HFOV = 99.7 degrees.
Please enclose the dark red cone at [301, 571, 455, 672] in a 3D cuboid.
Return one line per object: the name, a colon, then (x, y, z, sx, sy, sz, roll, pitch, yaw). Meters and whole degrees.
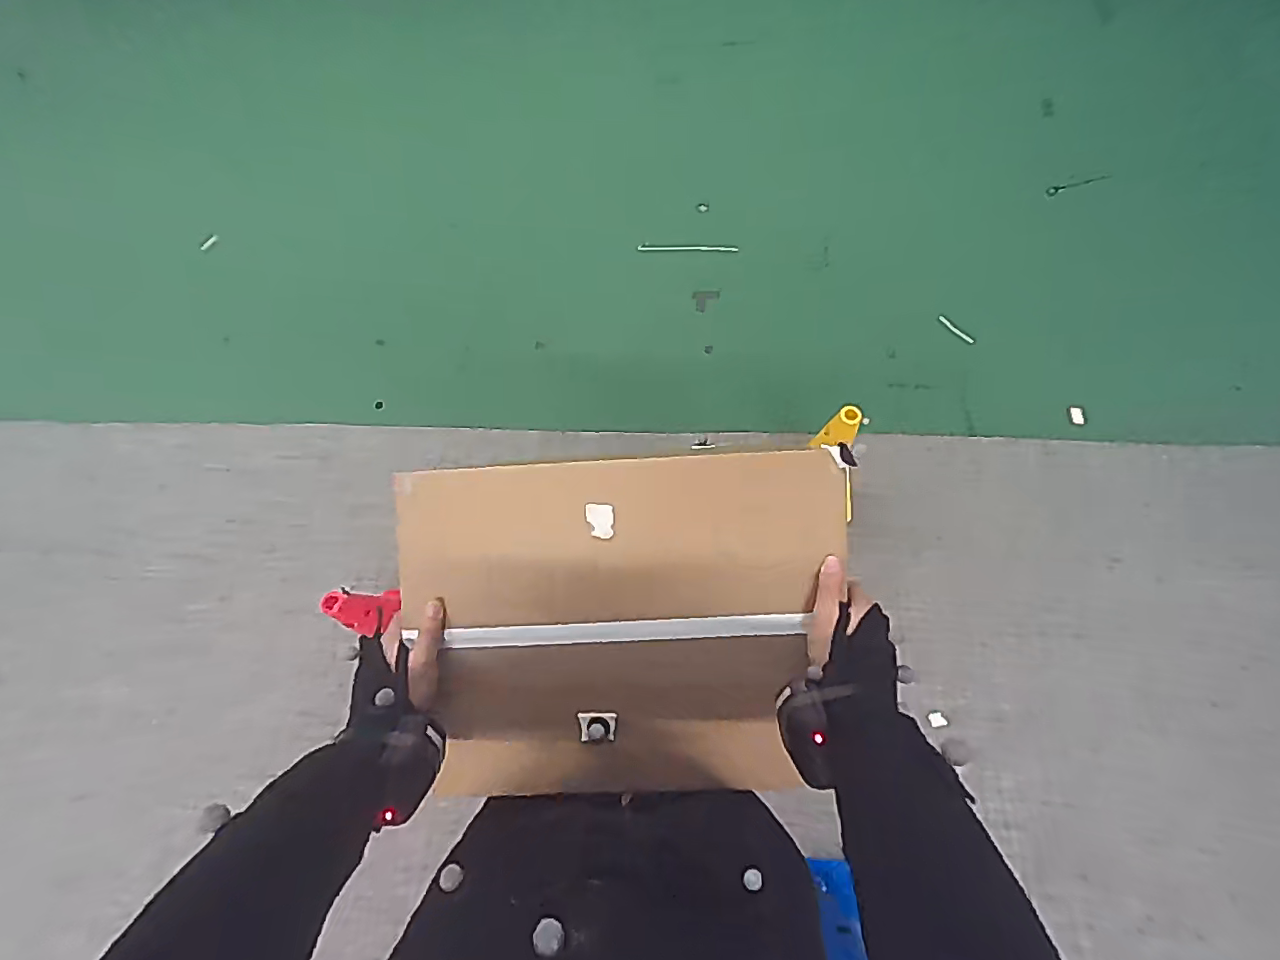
dark red cone: (-0.545, 0.260, 1.101, 0.202, 0.394, 0.201, -6, 64, 2)
